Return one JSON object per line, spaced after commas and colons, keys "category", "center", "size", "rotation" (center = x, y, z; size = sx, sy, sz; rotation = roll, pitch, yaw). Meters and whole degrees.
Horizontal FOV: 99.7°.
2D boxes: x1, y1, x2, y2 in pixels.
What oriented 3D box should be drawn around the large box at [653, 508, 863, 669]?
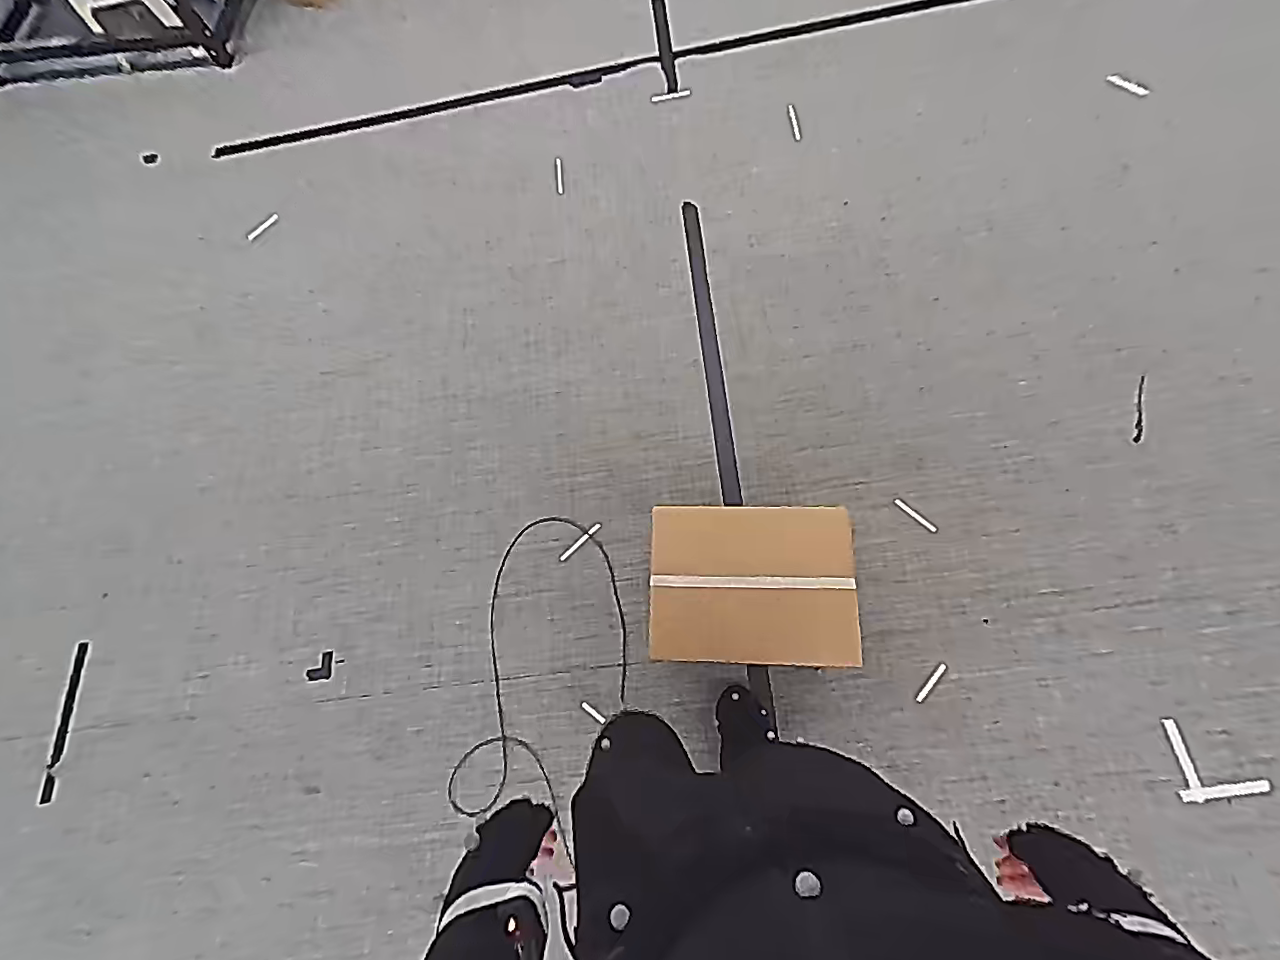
{"category": "large box", "center": [0.242, 0.252, 1.218], "size": [0.408, 0.320, 0.320], "rotation": [0, 72, 6]}
